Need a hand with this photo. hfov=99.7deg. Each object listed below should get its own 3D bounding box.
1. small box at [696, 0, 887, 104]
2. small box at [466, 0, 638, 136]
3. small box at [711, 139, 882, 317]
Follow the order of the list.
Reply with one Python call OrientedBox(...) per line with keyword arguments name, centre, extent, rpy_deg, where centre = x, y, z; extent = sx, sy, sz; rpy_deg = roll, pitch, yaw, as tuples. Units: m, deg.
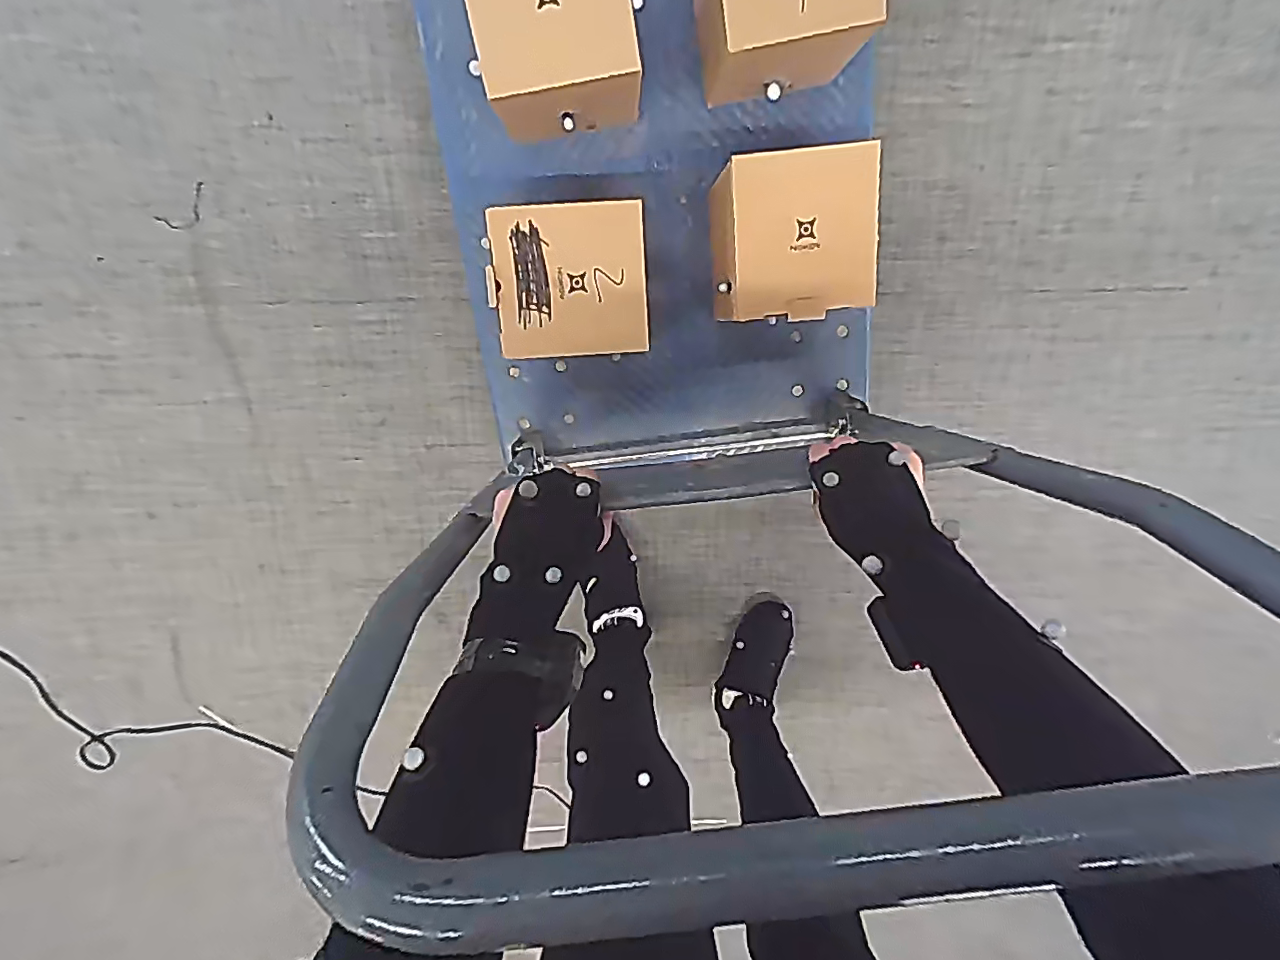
OrientedBox(name="small box", centre=(0.154, -0.558, 0.601), extent=(0.168, 0.176, 0.179), rpy_deg=(-10, 108, 3))
OrientedBox(name="small box", centre=(-0.095, -0.513, 0.609), extent=(0.168, 0.176, 0.179), rpy_deg=(-10, 107, 1))
OrientedBox(name="small box", centre=(0.185, -0.302, 0.683), extent=(0.168, 0.176, 0.179), rpy_deg=(-6, 108, 0))
